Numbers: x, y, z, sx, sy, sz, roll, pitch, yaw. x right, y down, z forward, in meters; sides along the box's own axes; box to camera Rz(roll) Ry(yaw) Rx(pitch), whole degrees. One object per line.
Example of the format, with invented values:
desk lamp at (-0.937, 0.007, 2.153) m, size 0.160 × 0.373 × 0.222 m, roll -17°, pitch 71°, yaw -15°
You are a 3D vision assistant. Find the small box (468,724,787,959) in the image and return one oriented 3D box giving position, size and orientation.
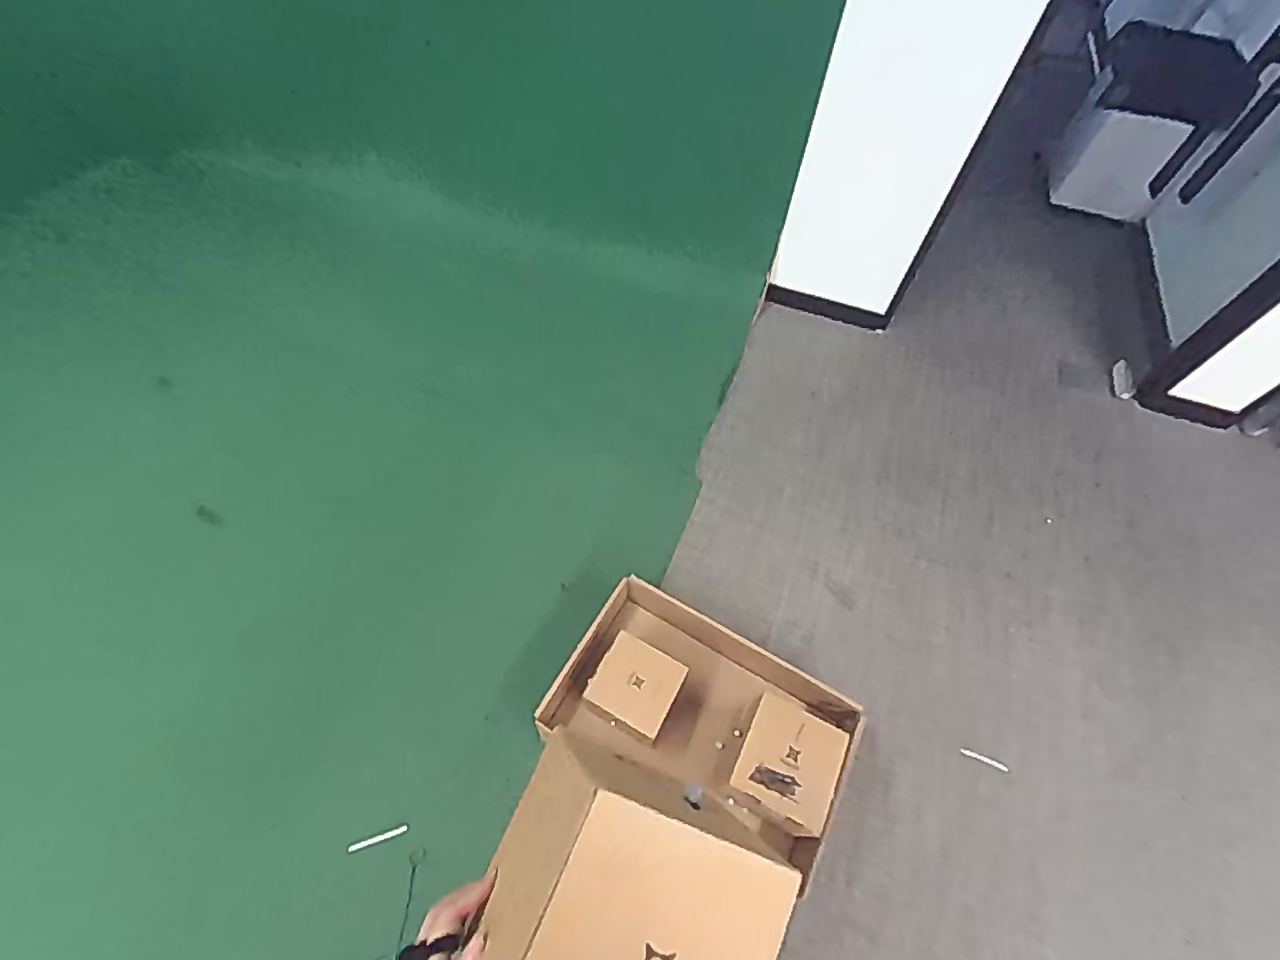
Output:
small box at (-0.023, 0.320, 0.421) m, size 0.168 × 0.176 × 0.179 m, roll 30°, pitch 74°, yaw -10°

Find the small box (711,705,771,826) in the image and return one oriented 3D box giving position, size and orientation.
small box at (0.259, 0.612, 1.150) m, size 0.168 × 0.176 × 0.179 m, roll 23°, pitch 60°, yaw 13°

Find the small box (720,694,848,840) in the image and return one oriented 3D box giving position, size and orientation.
small box at (0.259, 0.535, 1.005) m, size 0.168 × 0.176 × 0.179 m, roll 25°, pitch 59°, yaw 14°
